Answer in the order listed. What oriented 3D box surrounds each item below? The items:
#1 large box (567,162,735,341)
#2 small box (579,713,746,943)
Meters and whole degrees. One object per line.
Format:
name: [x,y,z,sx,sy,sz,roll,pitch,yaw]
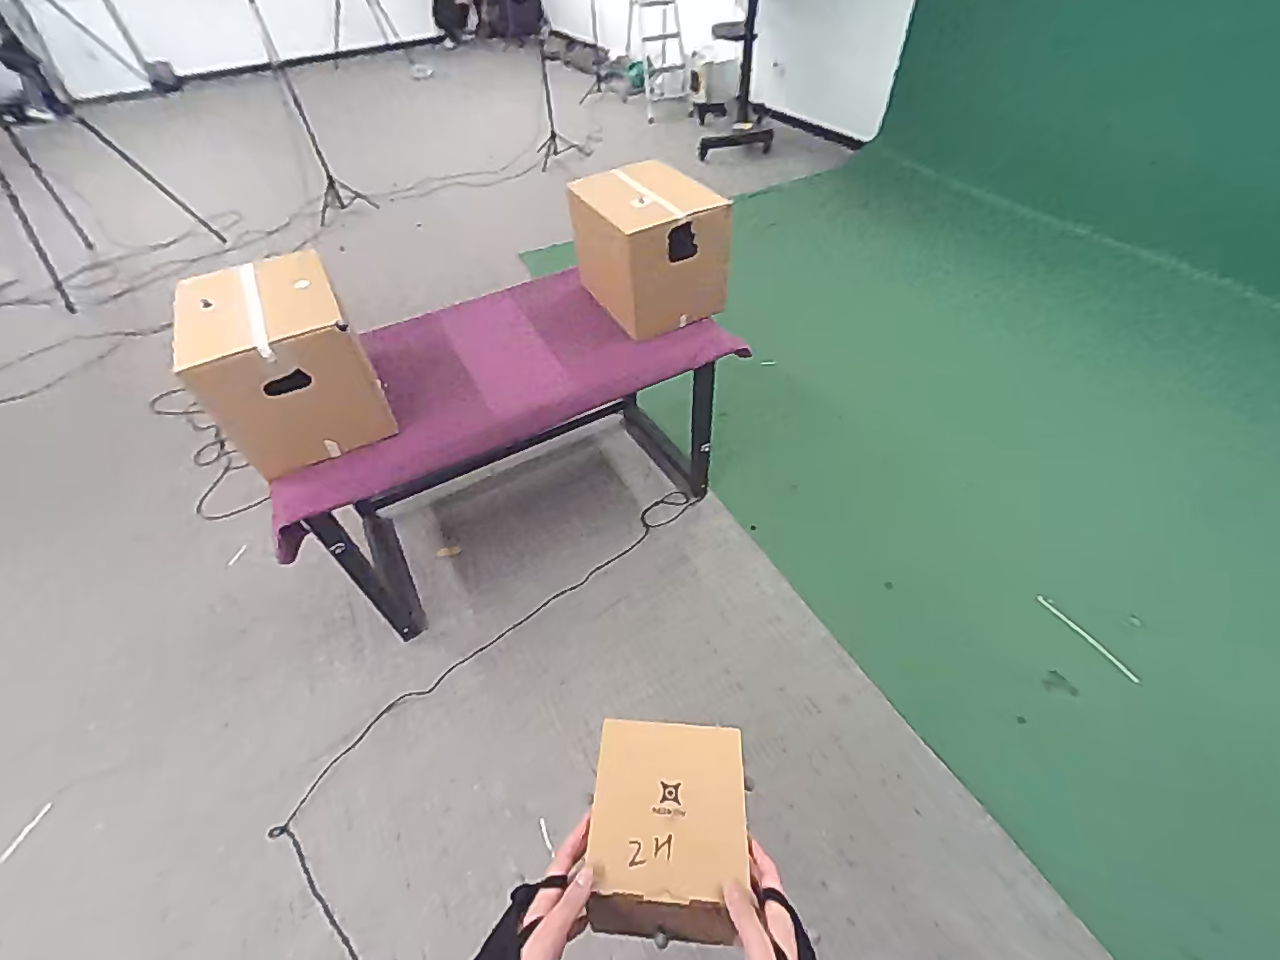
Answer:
large box: [0.024,-0.669,1.573,0.320,0.320,0.408,-24,52,-15]
small box: [0.027,0.403,0.633,0.168,0.176,0.179,3,39,3]
